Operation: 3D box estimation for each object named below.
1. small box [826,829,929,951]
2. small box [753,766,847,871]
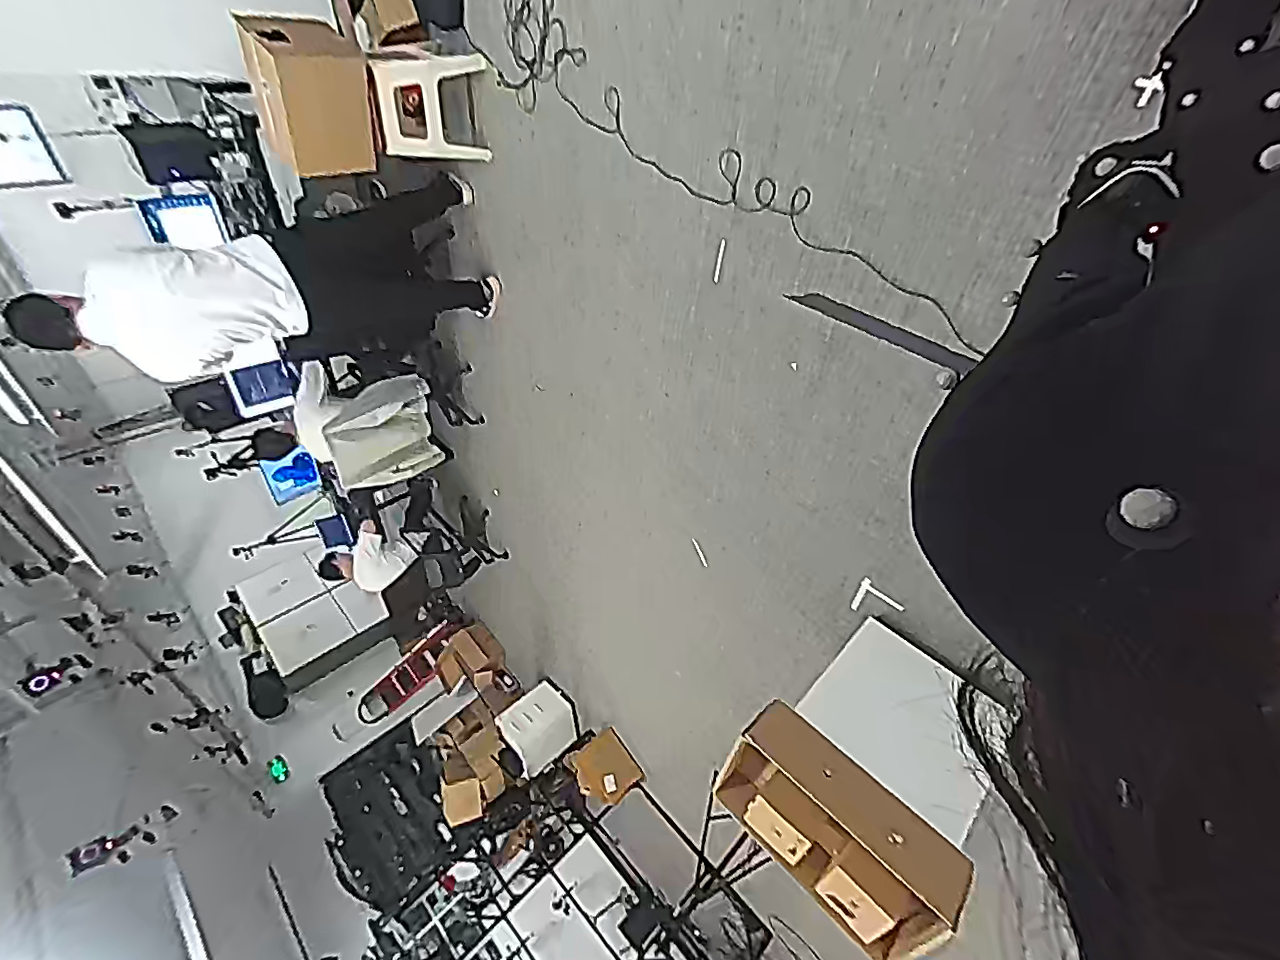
[{"bbox_3d":[0.631,1.080,1.432,0.168,0.176,0.179,36,133,31],"label":"small box"},{"bbox_3d":[0.462,0.966,1.562,0.179,0.176,0.168,35,134,30],"label":"small box"}]
